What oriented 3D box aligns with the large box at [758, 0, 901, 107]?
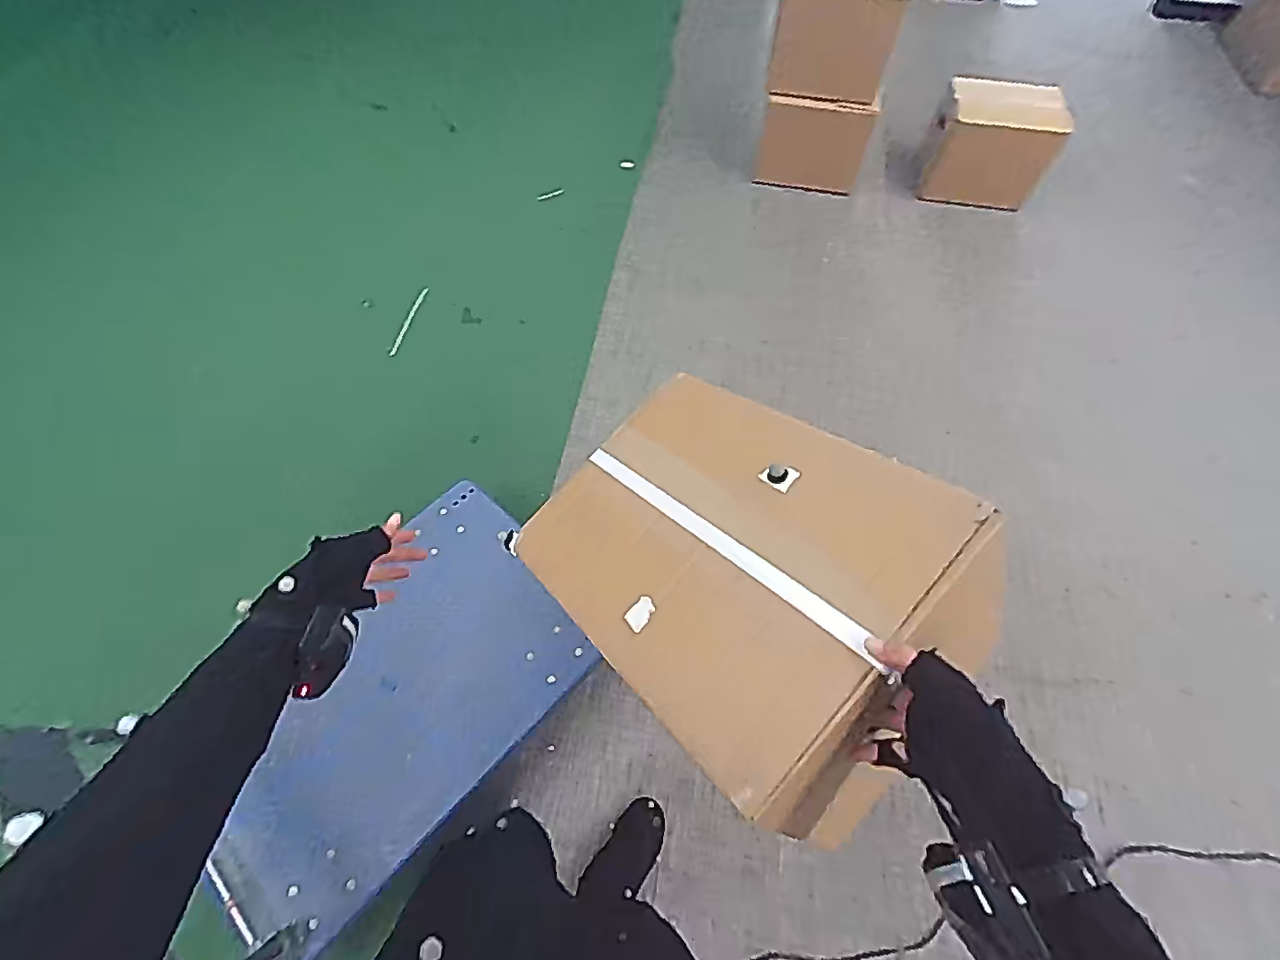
[{"bbox_3d":[0.657,-1.599,1.943,0.408,0.320,0.320,10,59,3],"label":"large box"}]
